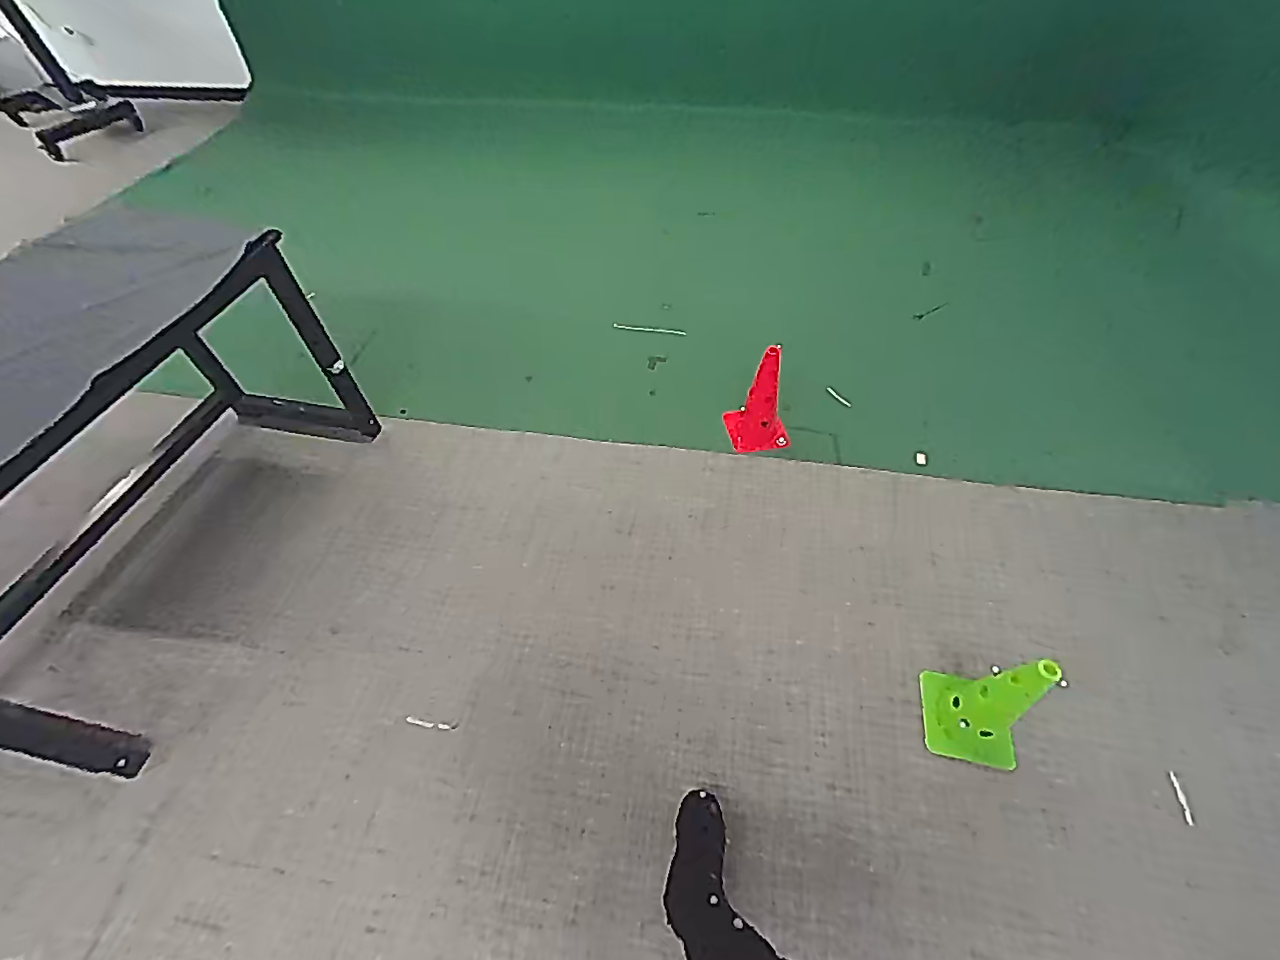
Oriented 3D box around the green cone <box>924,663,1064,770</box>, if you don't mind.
[{"bbox_3d":[0.800,0.478,1.188,0.200,0.368,0.202,9,52,9],"label":"green cone"}]
